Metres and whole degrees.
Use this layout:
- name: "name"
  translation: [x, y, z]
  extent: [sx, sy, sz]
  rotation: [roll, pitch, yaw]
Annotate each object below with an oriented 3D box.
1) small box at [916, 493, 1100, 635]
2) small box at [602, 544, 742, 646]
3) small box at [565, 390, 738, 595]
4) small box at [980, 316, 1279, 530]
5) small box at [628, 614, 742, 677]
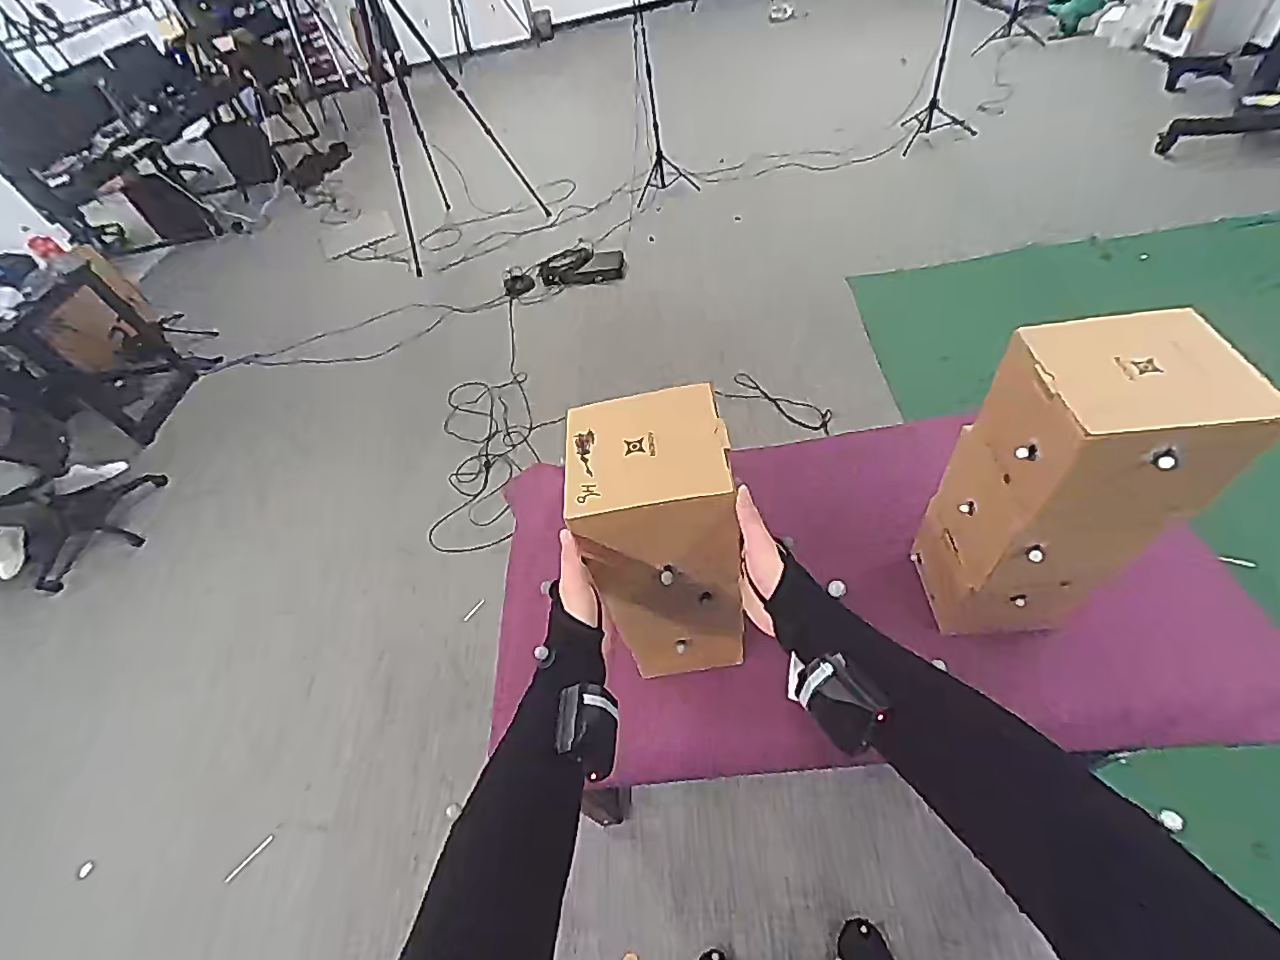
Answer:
- name: "small box"
  translation: [0.562, 0.137, 0.863]
  extent: [0.179, 0.176, 0.168]
  rotation: [-6, 50, 7]
- name: "small box"
  translation: [0.047, 0.121, 0.772]
  extent: [0.179, 0.176, 0.168]
  rotation: [-9, 49, 6]
- name: "small box"
  translation: [0.018, 0.019, 0.645]
  extent: [0.179, 0.176, 0.168]
  rotation: [-9, 48, 5]
- name: "small box"
  translation: [0.510, -0.056, 0.602]
  extent: [0.179, 0.176, 0.168]
  rotation: [-4, 51, 9]
- name: "small box"
  translation: [0.071, 0.214, 0.908]
  extent: [0.179, 0.176, 0.168]
  rotation: [-10, 50, 5]
